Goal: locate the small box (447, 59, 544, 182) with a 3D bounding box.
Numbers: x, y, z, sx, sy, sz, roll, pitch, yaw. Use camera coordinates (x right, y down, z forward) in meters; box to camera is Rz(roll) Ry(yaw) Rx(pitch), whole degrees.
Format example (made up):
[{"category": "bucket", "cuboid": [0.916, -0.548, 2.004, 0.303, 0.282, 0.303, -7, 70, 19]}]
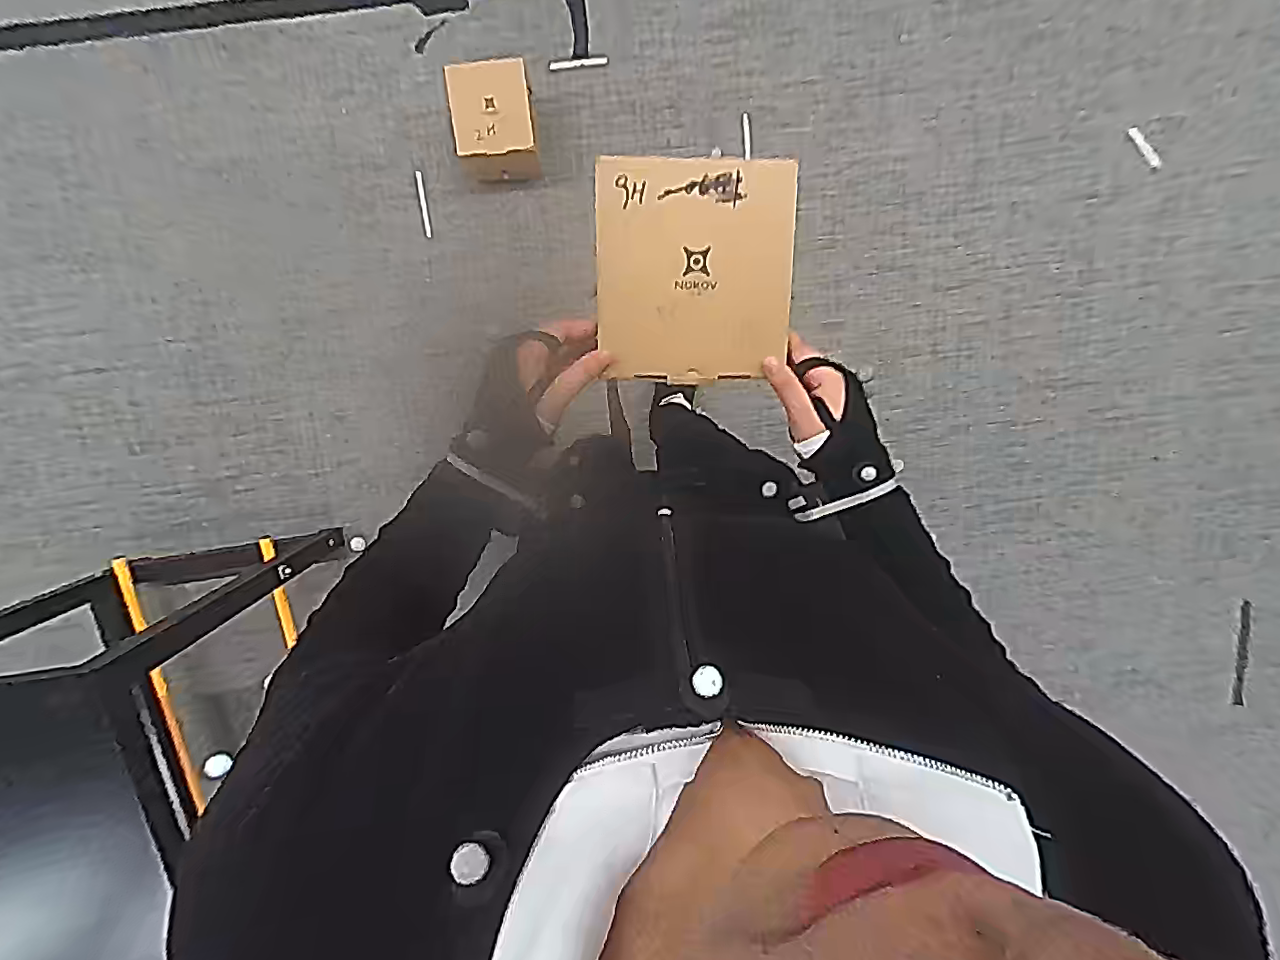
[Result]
[{"category": "small box", "cuboid": [-0.316, -0.796, 1.212, 0.168, 0.176, 0.179, -6, 102, -1]}]
